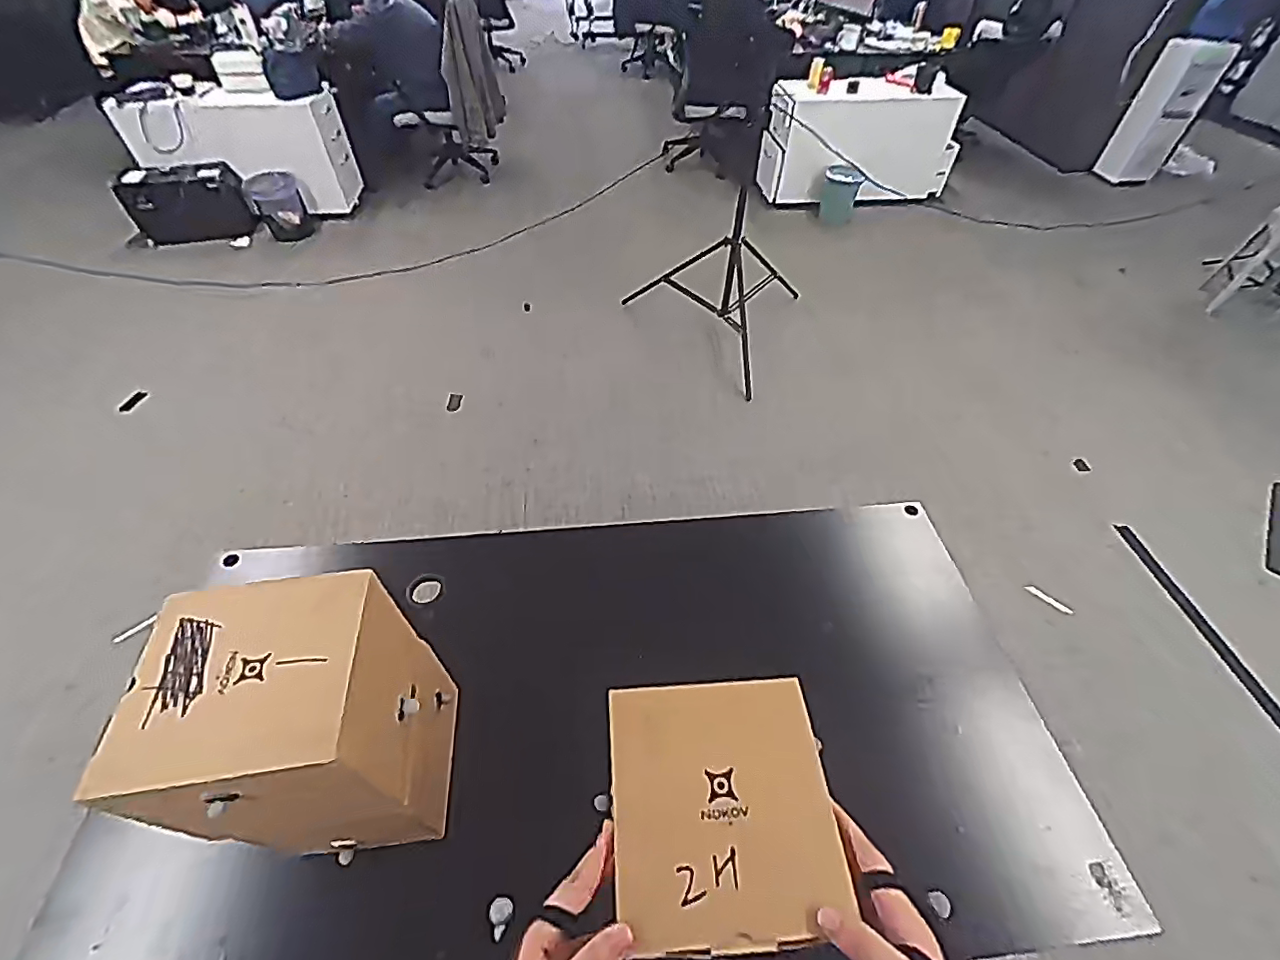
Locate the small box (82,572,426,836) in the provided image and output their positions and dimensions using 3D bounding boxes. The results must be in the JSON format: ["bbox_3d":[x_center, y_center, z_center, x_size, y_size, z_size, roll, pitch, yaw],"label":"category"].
[{"bbox_3d":[-0.318,0.208,0.498,0.179,0.176,0.168,-6,49,-6],"label":"small box"}]

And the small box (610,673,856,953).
[{"bbox_3d":[0.058,0.291,0.473,0.168,0.176,0.179,-3,48,-3],"label":"small box"}]

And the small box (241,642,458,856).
[{"bbox_3d":[-0.318,0.311,0.626,0.168,0.176,0.179,-6,50,-5],"label":"small box"}]
